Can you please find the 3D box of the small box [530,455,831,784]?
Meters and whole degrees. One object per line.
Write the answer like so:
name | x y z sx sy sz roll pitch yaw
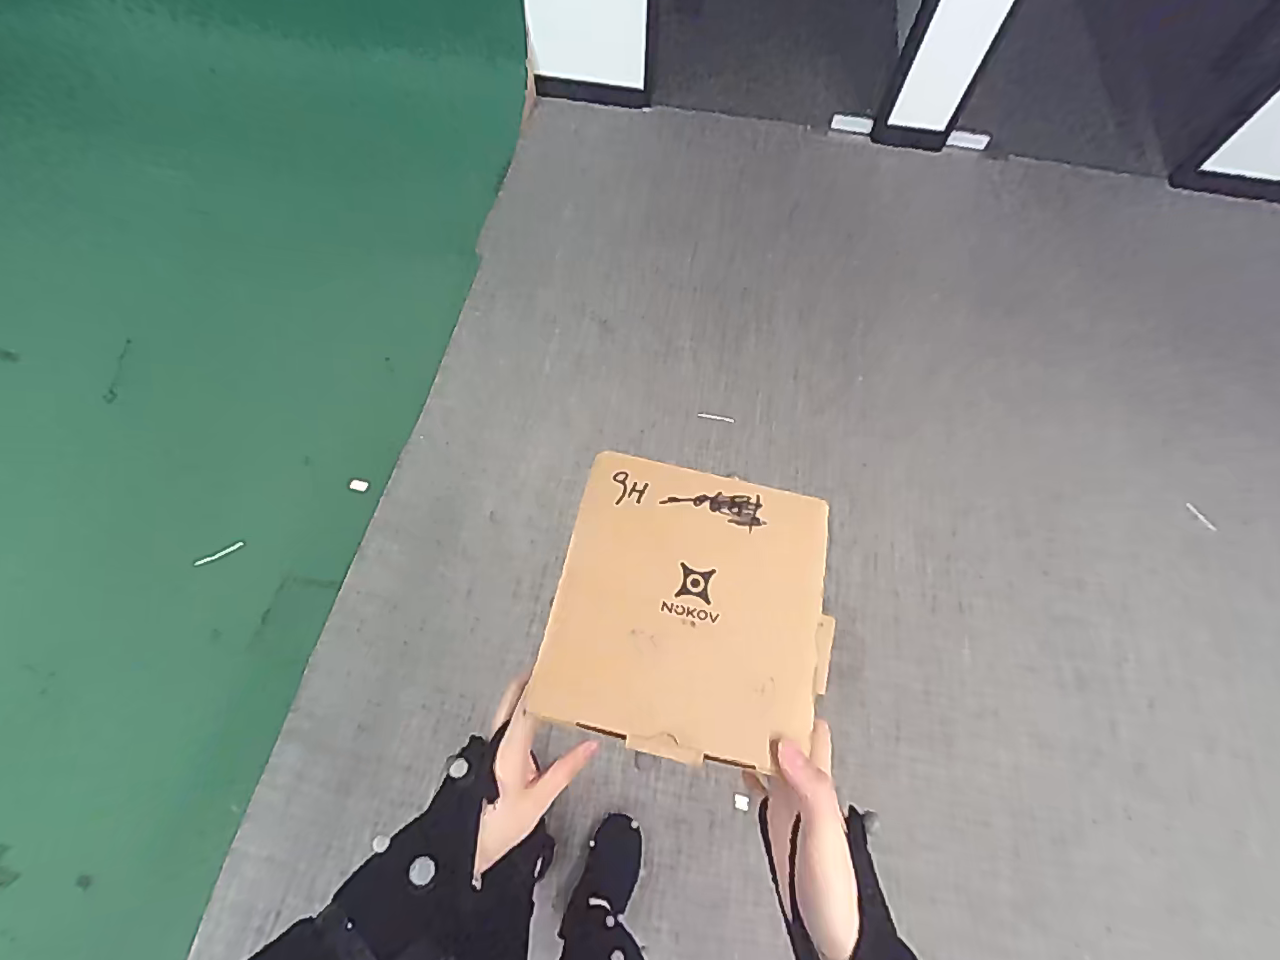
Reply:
small box | 0.028 0.107 0.413 0.168 0.176 0.179 13 67 1

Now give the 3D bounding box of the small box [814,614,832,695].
small box | 0.334 0.398 1.280 0.168 0.176 0.179 16 67 5
